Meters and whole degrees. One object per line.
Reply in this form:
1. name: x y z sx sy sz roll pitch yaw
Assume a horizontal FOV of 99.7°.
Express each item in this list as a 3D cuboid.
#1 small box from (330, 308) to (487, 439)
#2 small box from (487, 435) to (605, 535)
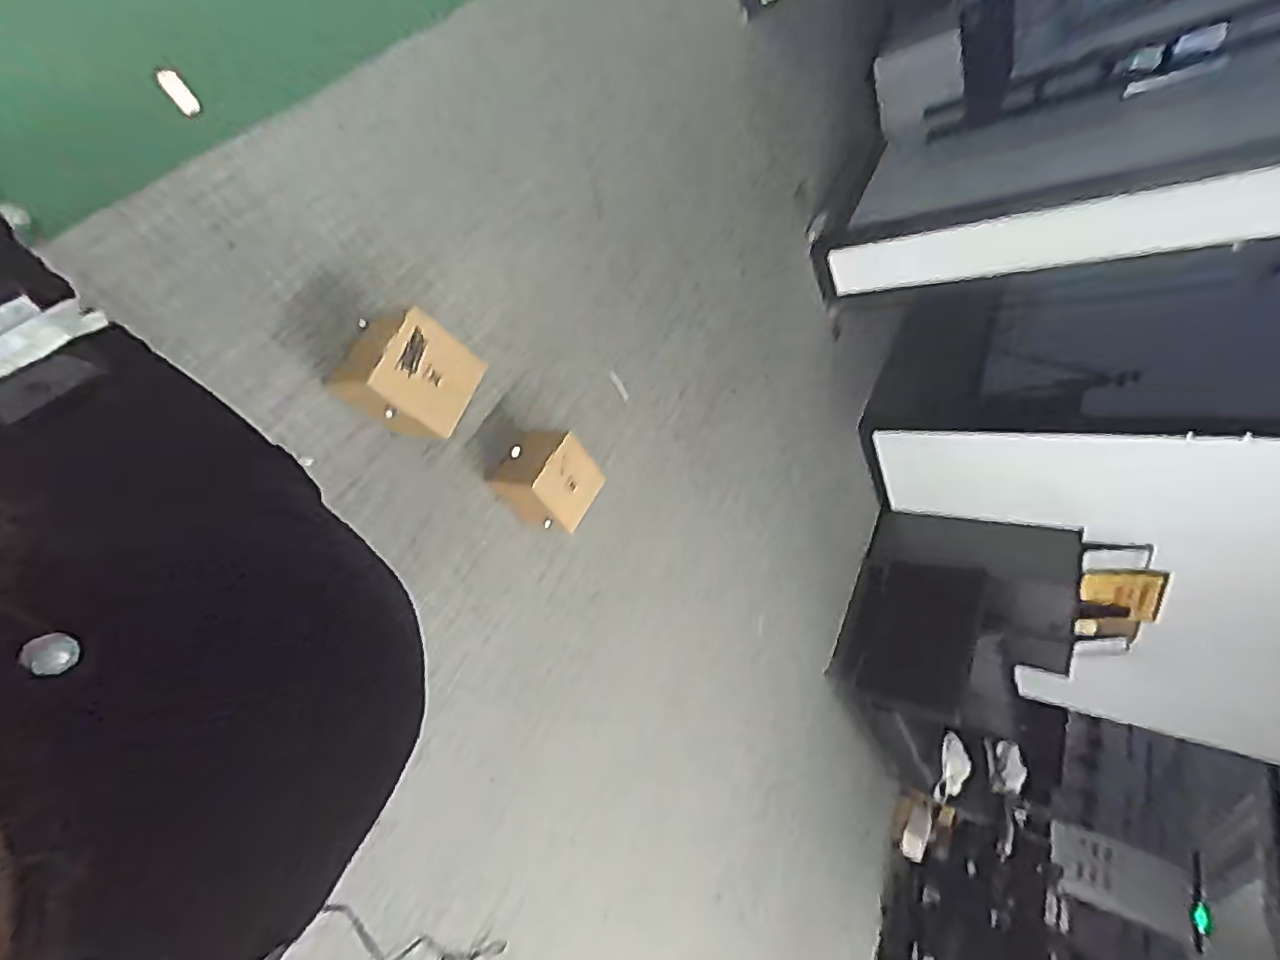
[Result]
1. small box: -0.429 -0.187 1.001 0.179 0.176 0.168 42 62 -46
2. small box: -0.221 0.005 1.281 0.168 0.176 0.179 -60 135 -29
